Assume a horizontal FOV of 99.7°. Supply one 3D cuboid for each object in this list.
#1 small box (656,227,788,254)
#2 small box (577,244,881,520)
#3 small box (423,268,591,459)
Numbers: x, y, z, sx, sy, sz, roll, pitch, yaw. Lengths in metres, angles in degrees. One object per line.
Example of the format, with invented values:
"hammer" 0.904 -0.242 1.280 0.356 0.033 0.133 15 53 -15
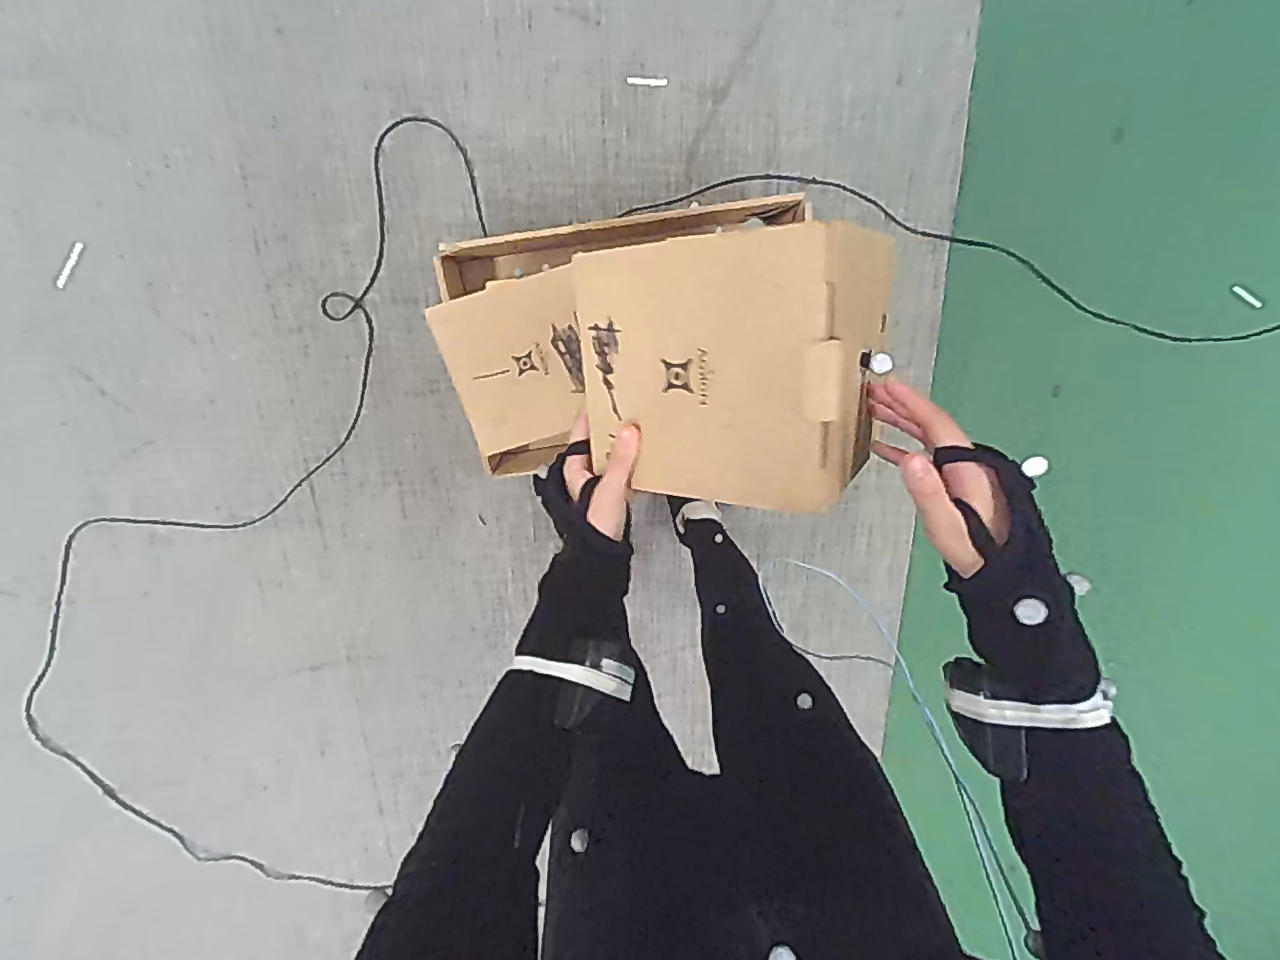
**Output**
"small box" 0.113 -0.262 0.799 0.168 0.176 0.179 -7 109 -2
"small box" 0.076 -0.087 0.413 0.179 0.176 0.168 9 113 29
"small box" -0.125 -0.146 0.647 0.179 0.176 0.168 -18 110 0
